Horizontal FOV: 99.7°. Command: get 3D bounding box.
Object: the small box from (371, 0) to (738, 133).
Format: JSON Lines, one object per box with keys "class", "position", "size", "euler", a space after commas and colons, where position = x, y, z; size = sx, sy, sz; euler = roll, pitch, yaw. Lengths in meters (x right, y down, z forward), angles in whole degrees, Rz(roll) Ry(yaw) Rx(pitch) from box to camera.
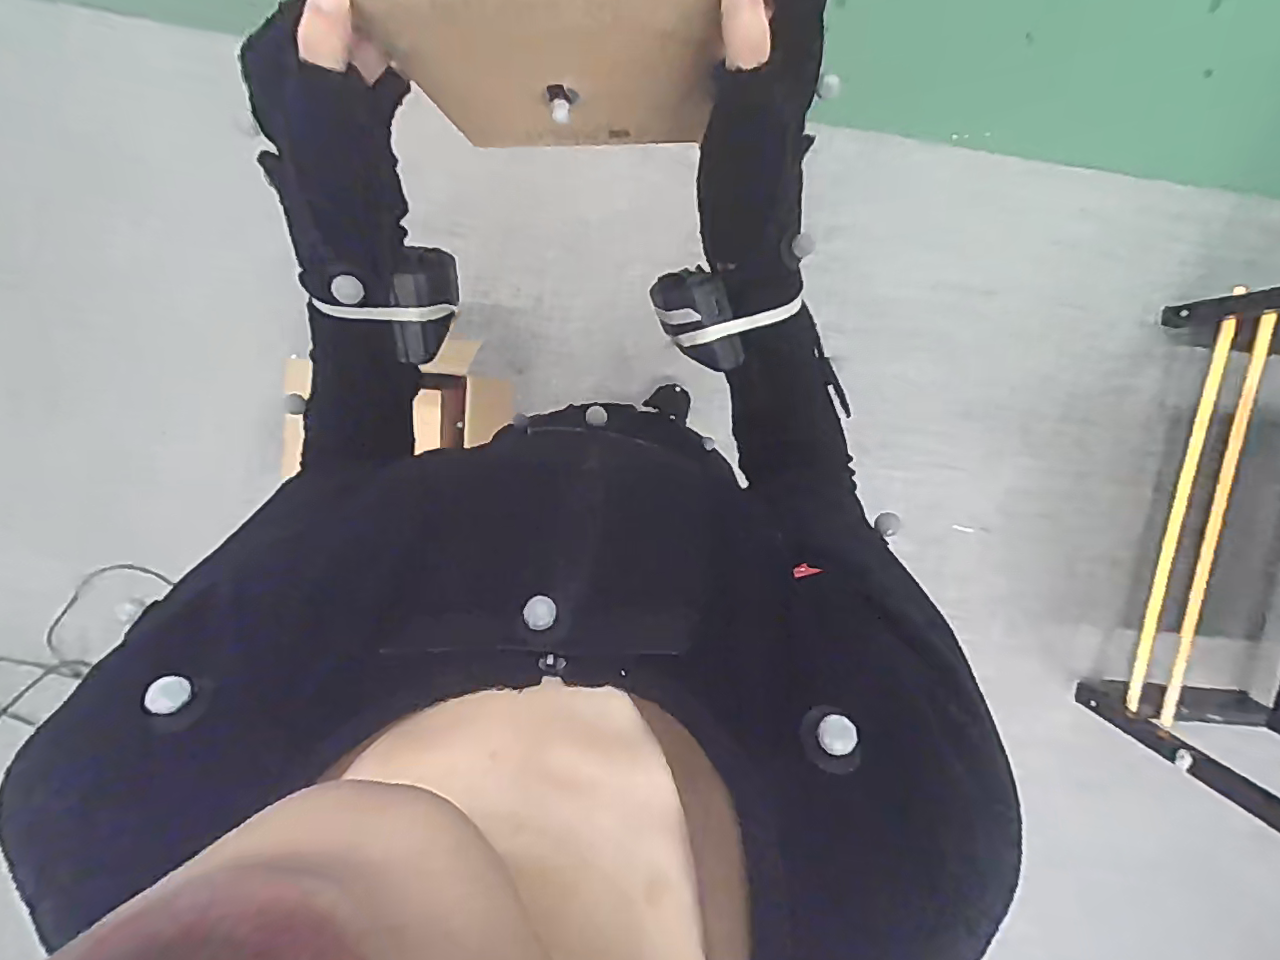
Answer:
{"class": "small box", "position": [-0.032, -0.304, 0.284], "size": [0.168, 0.176, 0.179], "euler": [0, 103, 2]}
